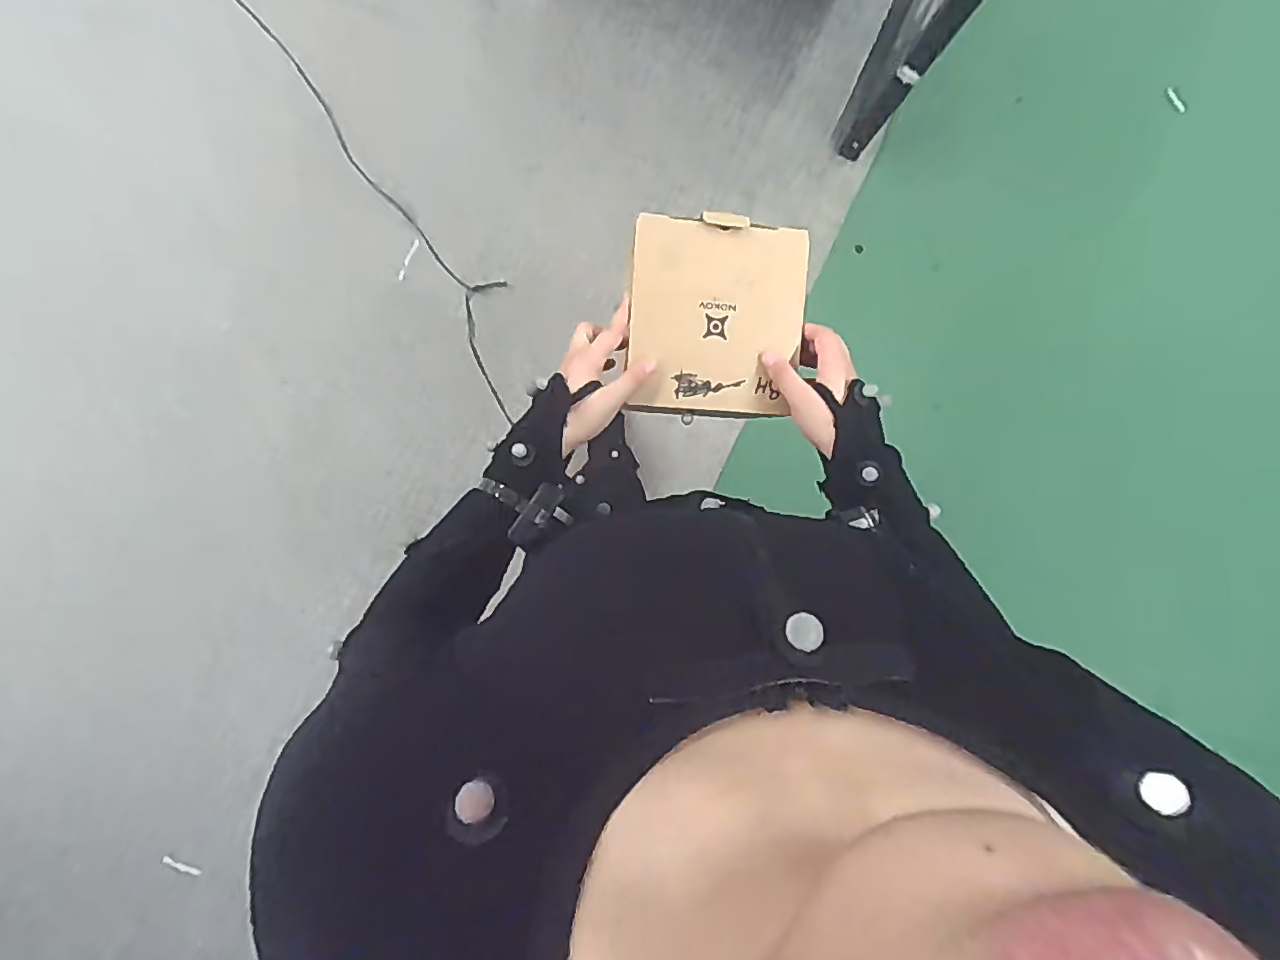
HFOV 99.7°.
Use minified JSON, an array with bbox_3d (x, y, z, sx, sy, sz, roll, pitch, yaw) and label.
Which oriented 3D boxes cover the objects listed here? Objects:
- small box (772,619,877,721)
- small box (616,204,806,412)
[{"bbox_3d":[0.475,0.489,1.426,0.179,0.176,0.168,33,91,-4],"label":"small box"},{"bbox_3d":[0.062,-0.168,0.583,0.168,0.176,0.179,3,96,-5],"label":"small box"}]
